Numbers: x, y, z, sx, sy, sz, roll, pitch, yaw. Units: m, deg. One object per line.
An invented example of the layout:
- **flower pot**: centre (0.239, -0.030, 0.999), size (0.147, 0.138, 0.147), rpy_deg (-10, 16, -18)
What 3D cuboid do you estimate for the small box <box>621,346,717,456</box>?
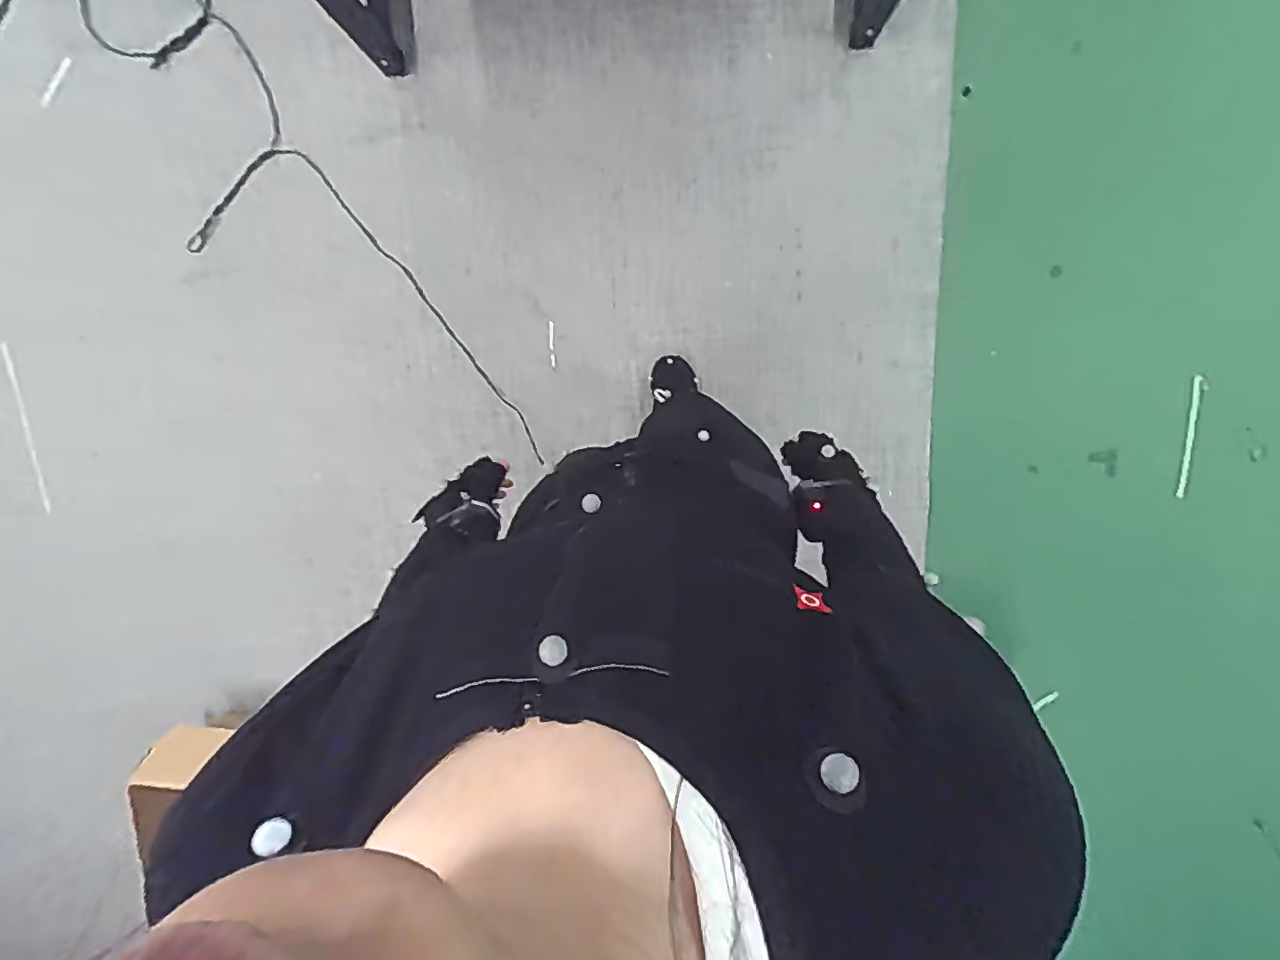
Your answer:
- **small box**: centre (0.079, -0.195, 1.364), size (0.168, 0.176, 0.179), rpy_deg (38, 76, 24)
